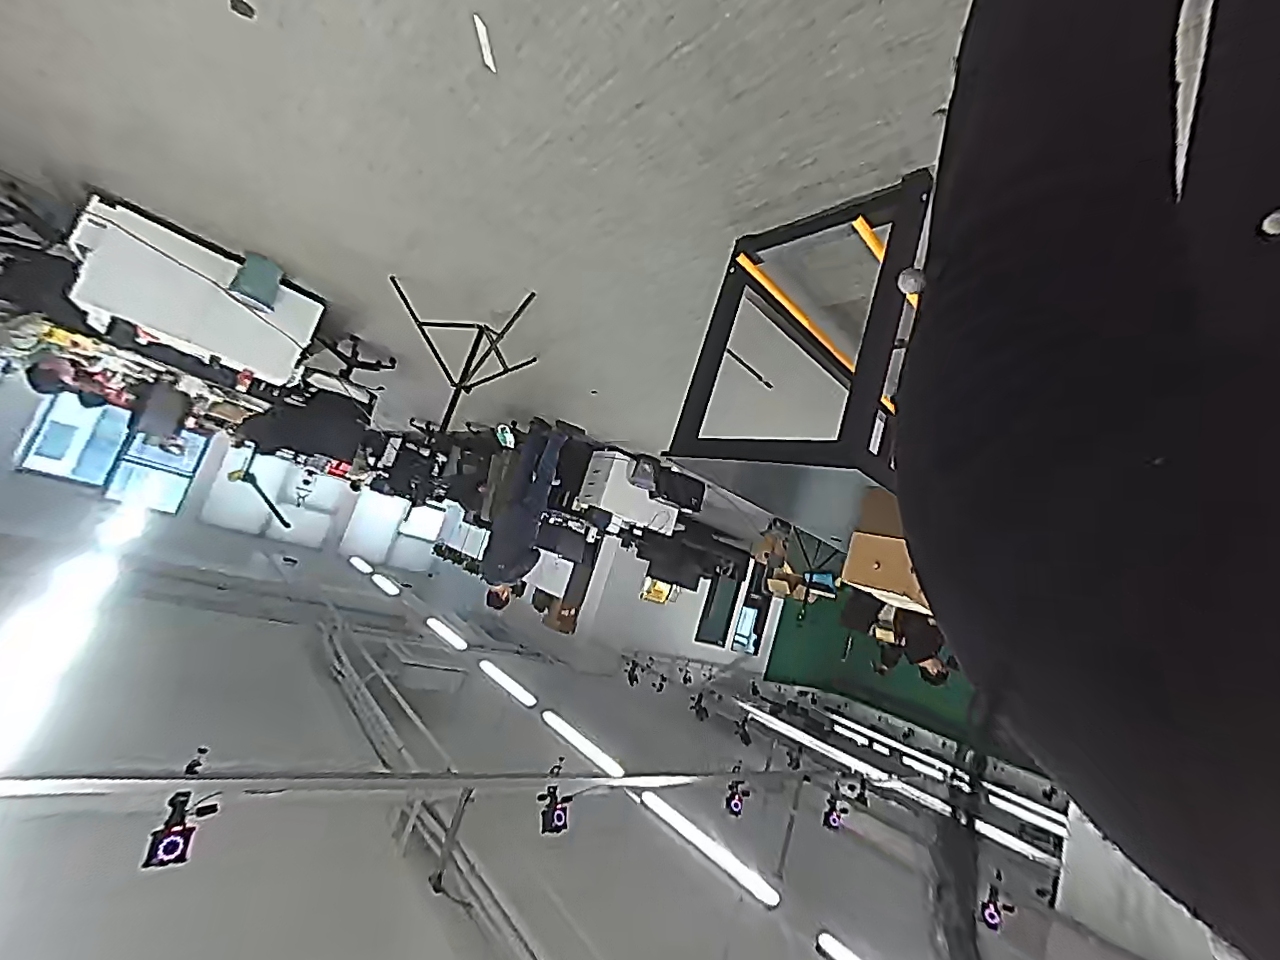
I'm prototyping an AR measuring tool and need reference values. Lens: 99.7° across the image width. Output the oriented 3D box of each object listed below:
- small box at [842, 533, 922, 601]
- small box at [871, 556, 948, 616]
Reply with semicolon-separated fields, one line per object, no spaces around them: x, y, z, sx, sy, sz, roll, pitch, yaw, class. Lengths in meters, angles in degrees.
0.778;0.274;1.725;0.168;0.176;0.179;26;168;-39;small box
0.930;0.348;1.858;0.179;0.176;0.168;26;168;-36;small box
